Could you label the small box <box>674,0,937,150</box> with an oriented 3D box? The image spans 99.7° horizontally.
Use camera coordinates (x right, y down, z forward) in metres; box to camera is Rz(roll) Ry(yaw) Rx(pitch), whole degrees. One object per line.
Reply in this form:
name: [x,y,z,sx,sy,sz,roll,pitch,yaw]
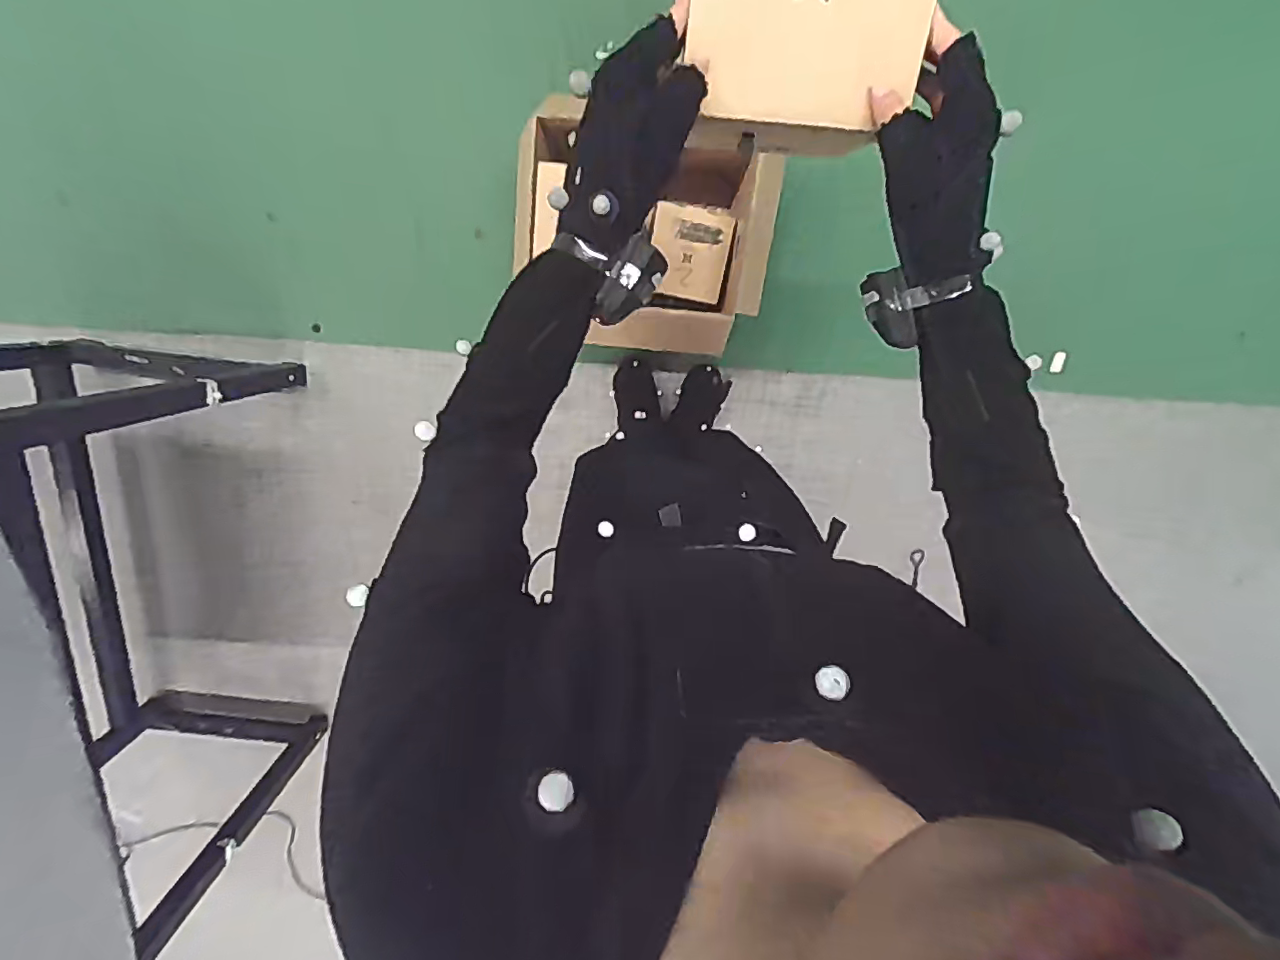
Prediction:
small box: [0.119,-0.368,0.417,0.168,0.176,0.179,6,115,0]
